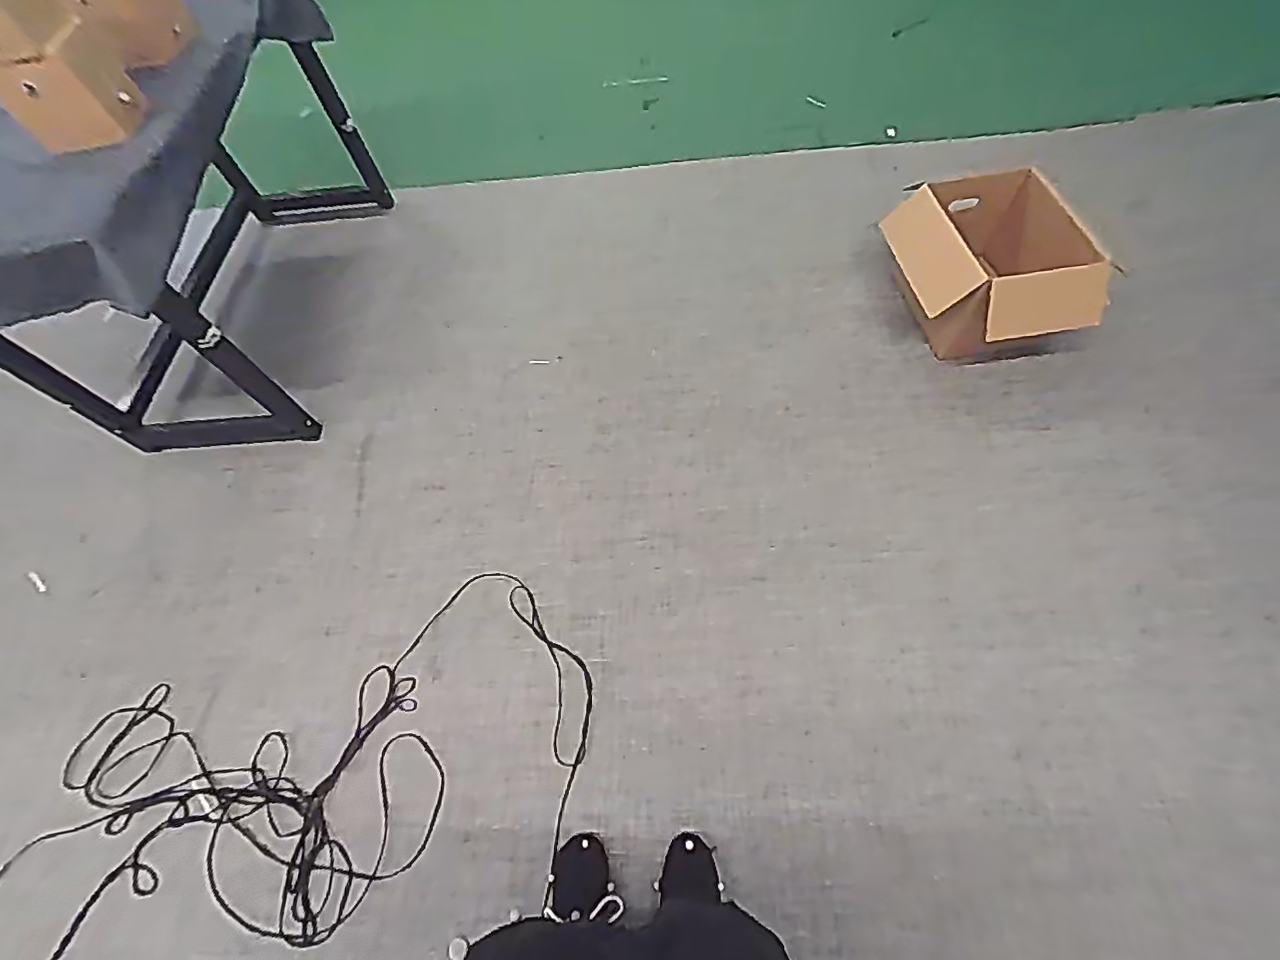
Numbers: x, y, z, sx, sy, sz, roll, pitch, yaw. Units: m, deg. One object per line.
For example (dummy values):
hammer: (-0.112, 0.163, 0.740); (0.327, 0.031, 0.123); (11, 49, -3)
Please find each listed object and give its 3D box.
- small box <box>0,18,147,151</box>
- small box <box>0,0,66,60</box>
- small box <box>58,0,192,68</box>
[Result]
small box: (-1.219, -0.829, 1.144); (0.179, 0.176, 0.168); (-12, 61, -2)
small box: (-1.247, -0.908, 1.005); (0.168, 0.176, 0.179); (-8, 60, 0)
small box: (-1.257, -1.145, 1.321); (0.168, 0.176, 0.179); (-3, 61, 4)
